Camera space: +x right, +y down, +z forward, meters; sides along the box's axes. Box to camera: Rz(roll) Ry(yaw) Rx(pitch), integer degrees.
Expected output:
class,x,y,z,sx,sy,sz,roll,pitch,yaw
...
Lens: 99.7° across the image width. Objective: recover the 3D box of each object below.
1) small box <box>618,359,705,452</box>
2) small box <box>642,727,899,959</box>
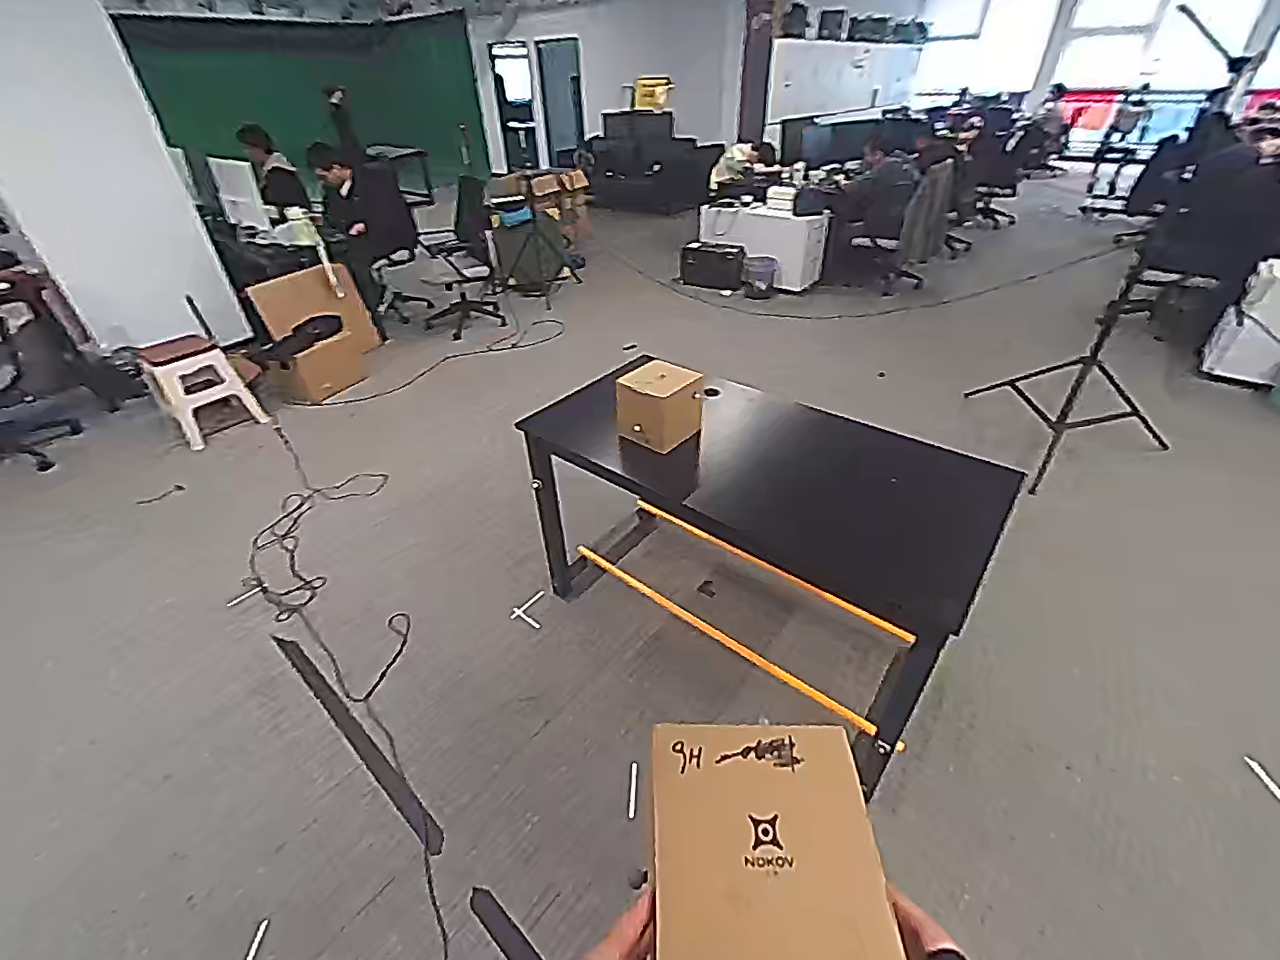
class,x,y,z,sx,sy,sz,roll,pitch,yaw
small box,0.057,-0.204,1.475,0.168,0.176,0.179,26,45,33
small box,0.088,0.327,0.455,0.168,0.176,0.179,1,46,-2
